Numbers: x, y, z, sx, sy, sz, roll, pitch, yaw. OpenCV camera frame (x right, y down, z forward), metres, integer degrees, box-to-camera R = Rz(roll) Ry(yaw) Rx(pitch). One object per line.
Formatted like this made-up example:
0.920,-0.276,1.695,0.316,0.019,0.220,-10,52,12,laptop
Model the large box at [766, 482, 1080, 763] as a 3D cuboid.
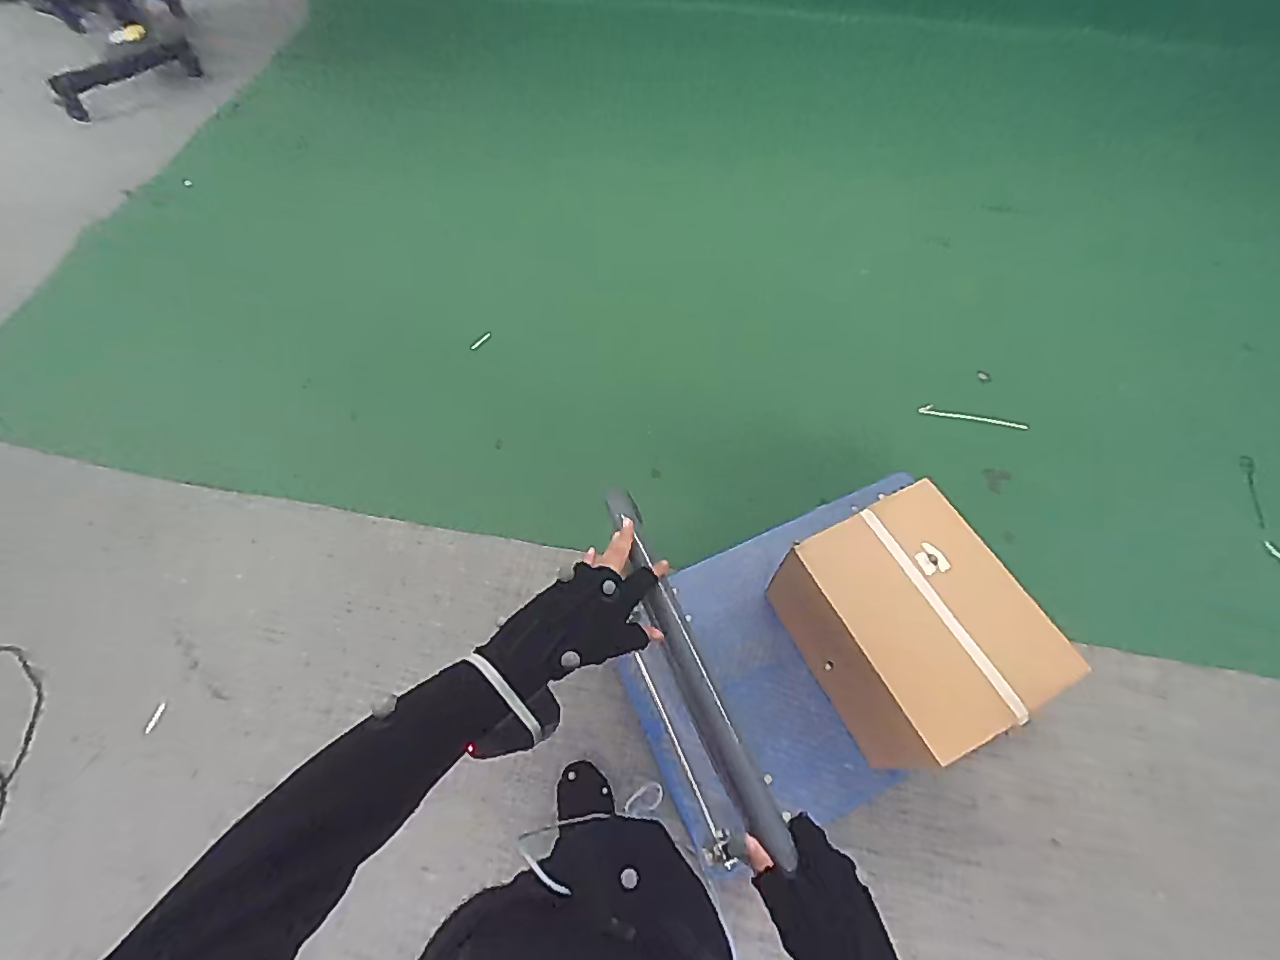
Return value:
0.507,0.287,1.073,0.320,0.320,0.408,-25,63,-11,large box
